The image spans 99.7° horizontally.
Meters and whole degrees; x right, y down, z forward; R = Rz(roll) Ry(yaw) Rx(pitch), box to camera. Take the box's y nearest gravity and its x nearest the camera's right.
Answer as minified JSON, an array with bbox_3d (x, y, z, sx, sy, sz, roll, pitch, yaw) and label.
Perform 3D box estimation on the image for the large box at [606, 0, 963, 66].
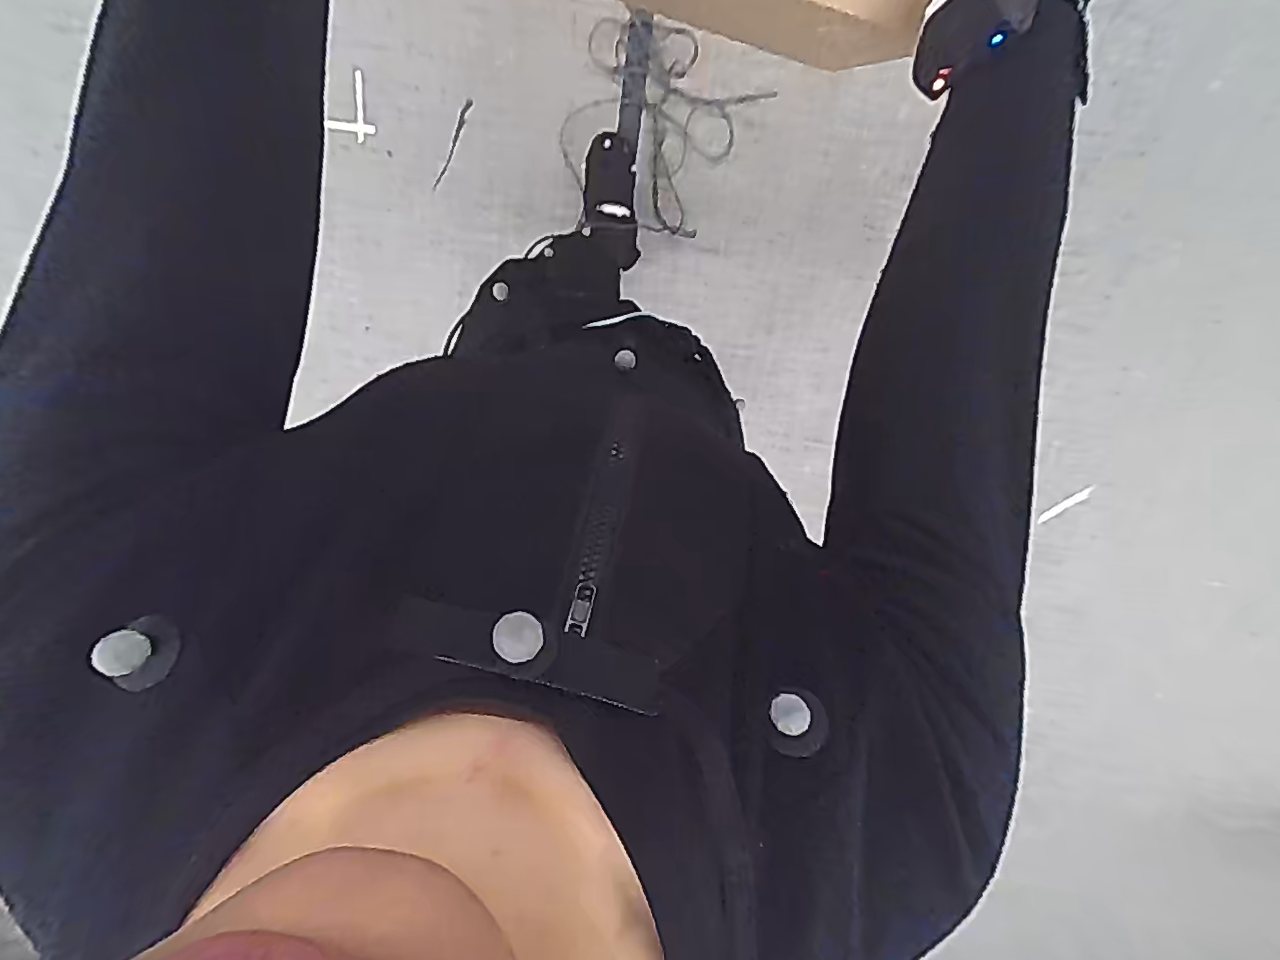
[{"bbox_3d":[0.065,-0.564,0.411,0.408,0.320,0.320,12,125,-8],"label":"large box"}]
